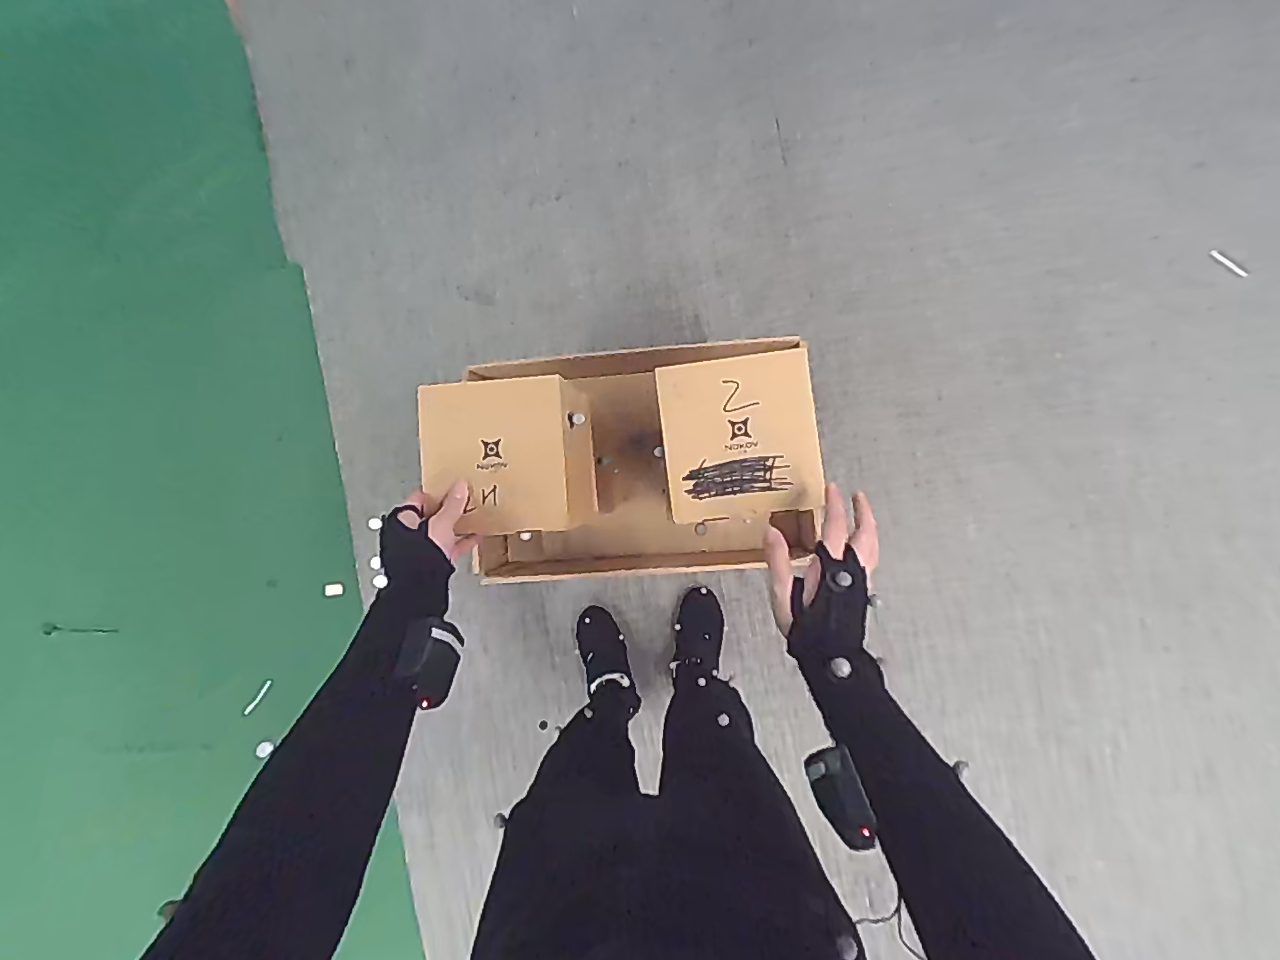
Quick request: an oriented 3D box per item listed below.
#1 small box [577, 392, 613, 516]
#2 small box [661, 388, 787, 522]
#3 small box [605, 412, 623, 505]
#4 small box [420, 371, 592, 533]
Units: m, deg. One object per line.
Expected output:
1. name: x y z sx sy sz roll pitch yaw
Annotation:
1. small box: -0.136 -0.031 0.838 0.168 0.176 0.179 -3 89 5
2. small box: 0.121 -0.033 0.813 0.168 0.176 0.179 -3 88 4
3. small box: -0.129 -0.030 1.002 0.179 0.176 0.168 -3 88 4
4. small box: -0.156 -0.028 0.675 0.168 0.176 0.179 -3 89 5
